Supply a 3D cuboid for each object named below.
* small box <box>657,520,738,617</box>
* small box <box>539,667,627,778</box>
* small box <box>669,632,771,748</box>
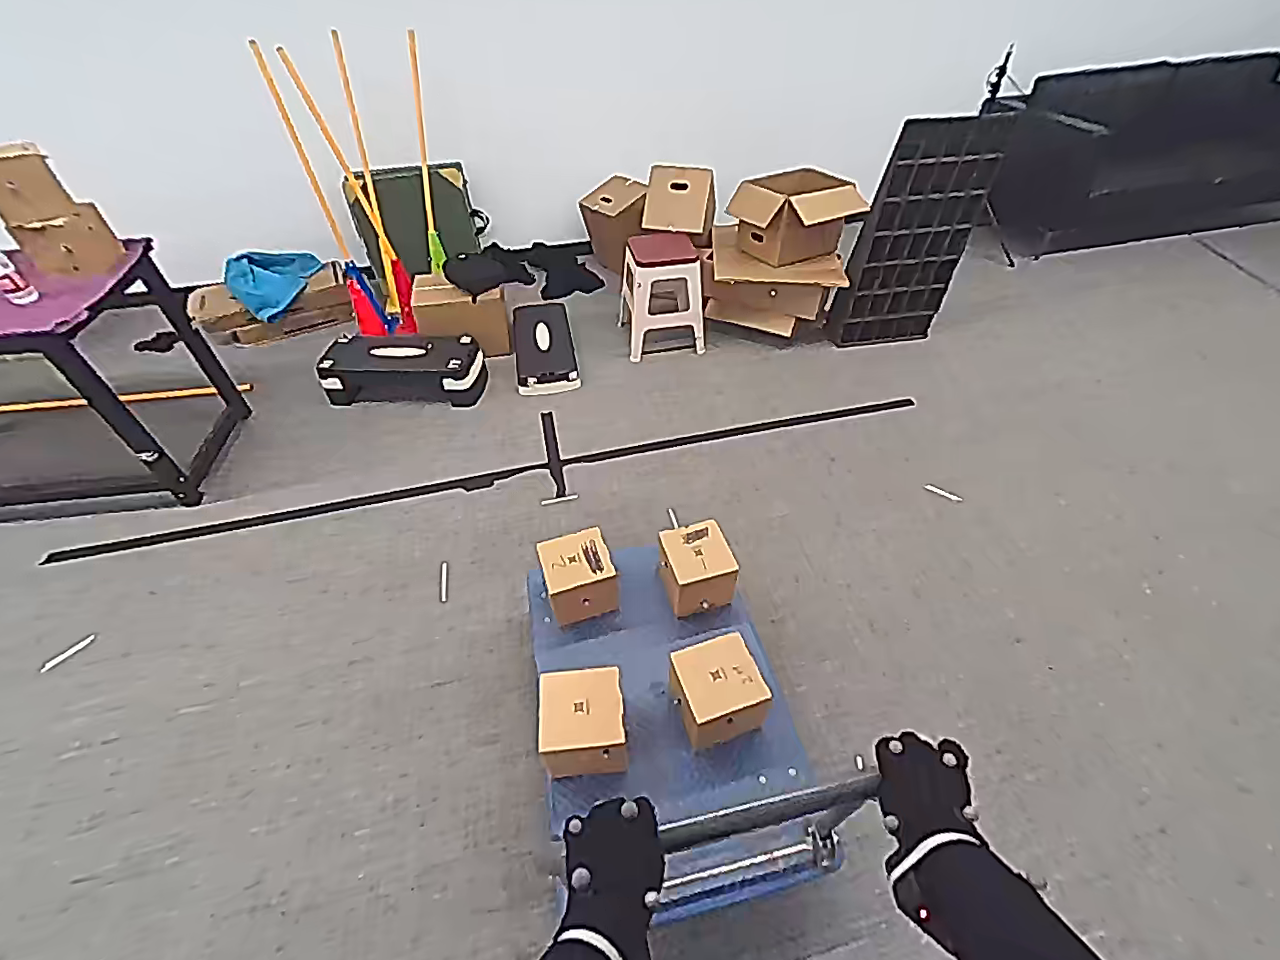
[{"bbox_3d":[0.148,0.240,1.467,0.168,0.176,0.179,-13,48,-11],"label":"small box"},{"bbox_3d":[-0.123,0.535,1.186,0.179,0.176,0.168,-4,45,-5],"label":"small box"},{"bbox_3d":[0.174,0.481,1.232,0.179,0.176,0.168,-15,47,-12],"label":"small box"}]
